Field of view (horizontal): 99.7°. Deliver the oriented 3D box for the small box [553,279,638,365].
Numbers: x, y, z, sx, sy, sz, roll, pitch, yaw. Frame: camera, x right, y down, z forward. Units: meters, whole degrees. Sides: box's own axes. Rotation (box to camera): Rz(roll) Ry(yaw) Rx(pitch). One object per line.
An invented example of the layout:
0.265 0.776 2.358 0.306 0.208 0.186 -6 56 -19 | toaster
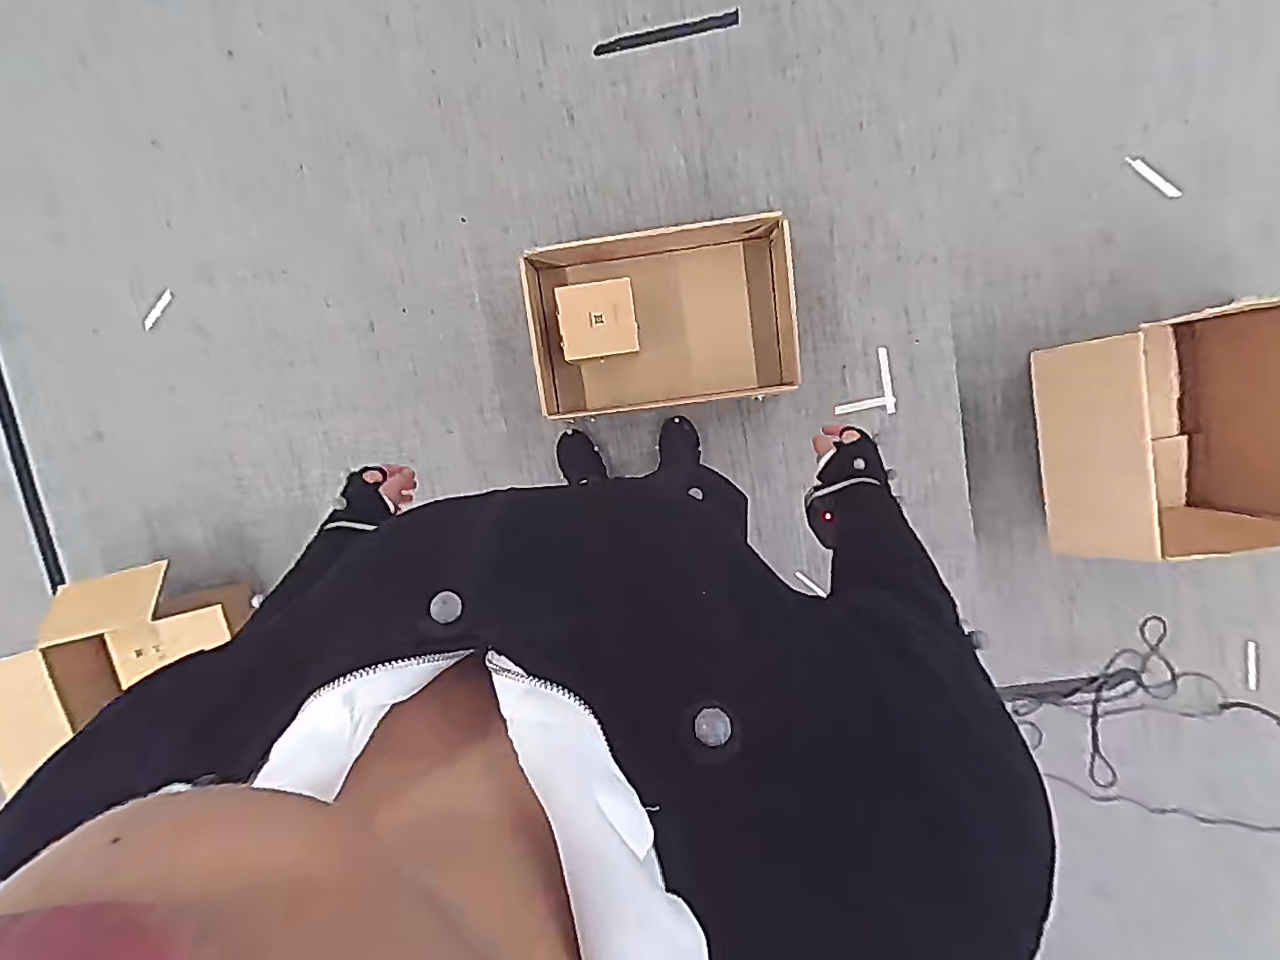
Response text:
-0.101 -0.375 1.312 0.179 0.176 0.168 -8 99 2 | small box
